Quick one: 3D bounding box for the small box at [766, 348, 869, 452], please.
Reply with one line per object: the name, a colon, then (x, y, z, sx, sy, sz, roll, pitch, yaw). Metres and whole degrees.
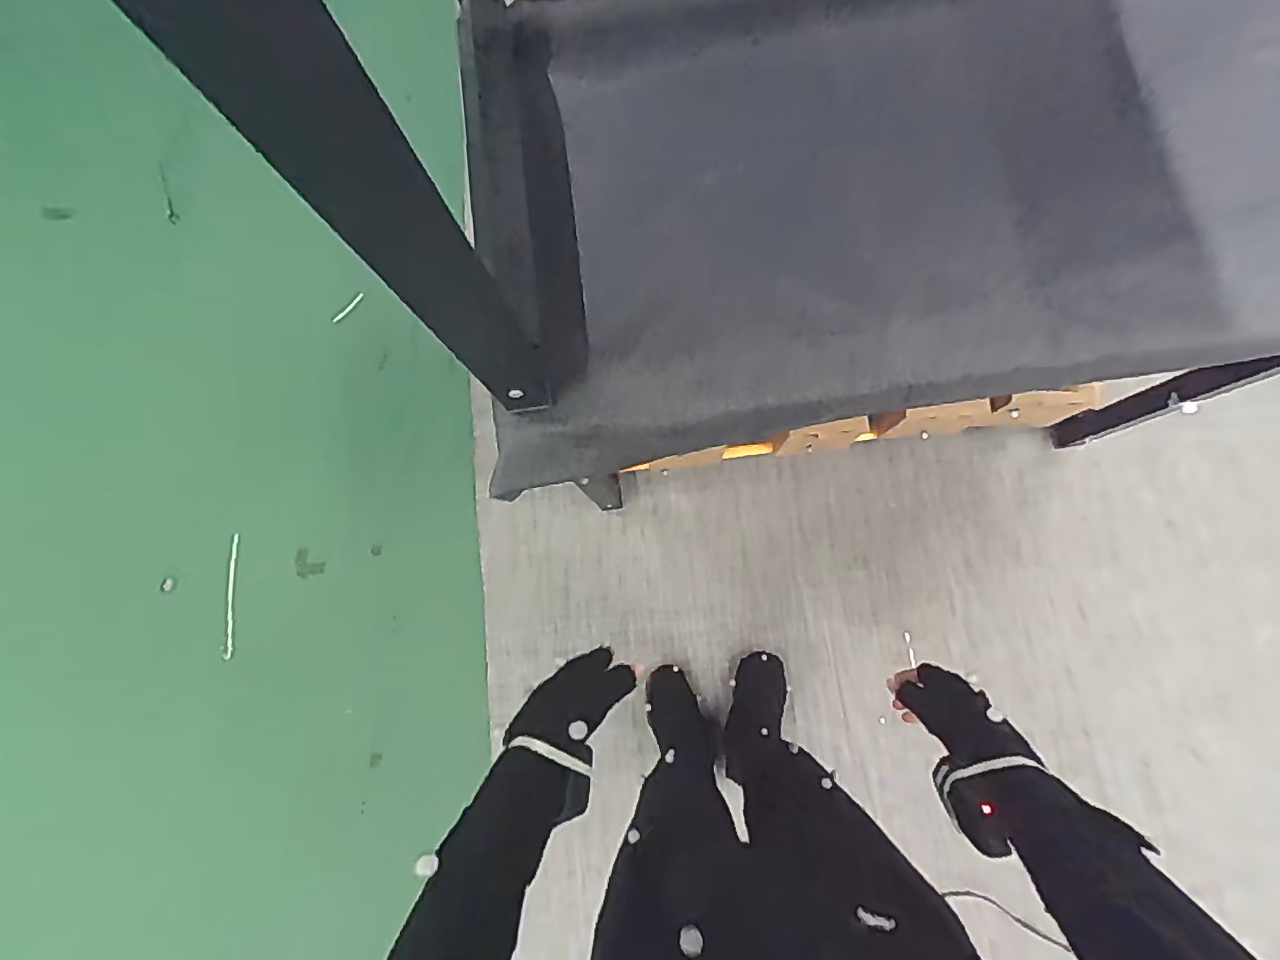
small box: (0.378, -0.168, 1.181, 0.168, 0.176, 0.179, -6, 80, 3)
